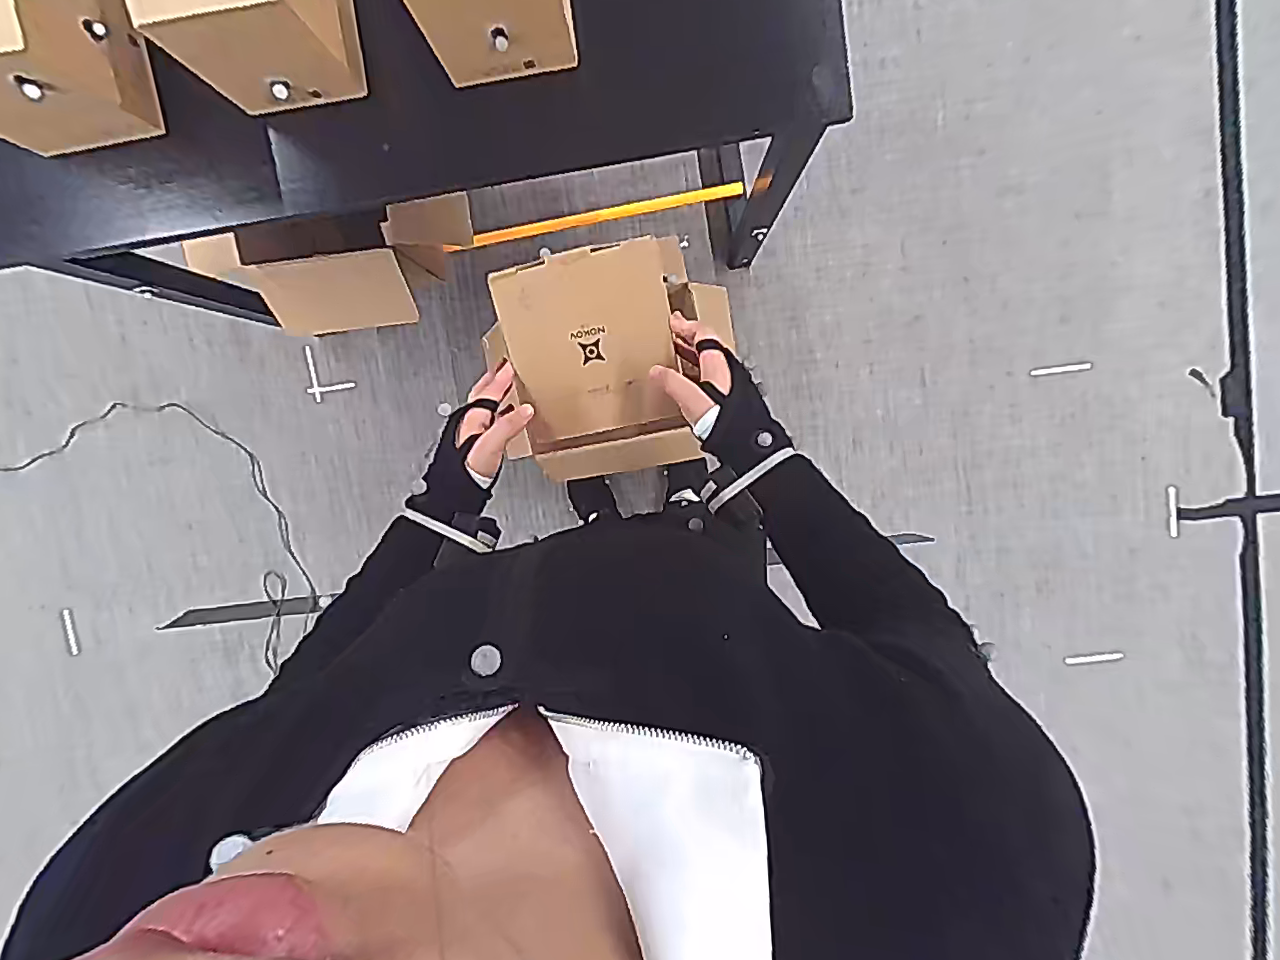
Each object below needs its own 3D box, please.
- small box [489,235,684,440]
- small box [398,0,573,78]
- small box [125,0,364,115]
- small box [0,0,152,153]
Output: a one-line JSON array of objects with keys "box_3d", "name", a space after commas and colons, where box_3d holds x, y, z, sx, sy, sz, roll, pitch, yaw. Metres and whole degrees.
[{"box_3d": [-0.048, -0.163, 0.612, 0.168, 0.176, 0.179, -10, 111, 7], "name": "small box"}, {"box_3d": [-0.179, -0.599, 0.617, 0.168, 0.176, 0.179, -8, 96, 3], "name": "small box"}, {"box_3d": [-0.453, -0.570, 0.627, 0.168, 0.176, 0.179, -7, 96, 3], "name": "small box"}, {"box_3d": [-0.733, -0.521, 0.639, 0.179, 0.176, 0.168, -9, 95, 2], "name": "small box"}]
